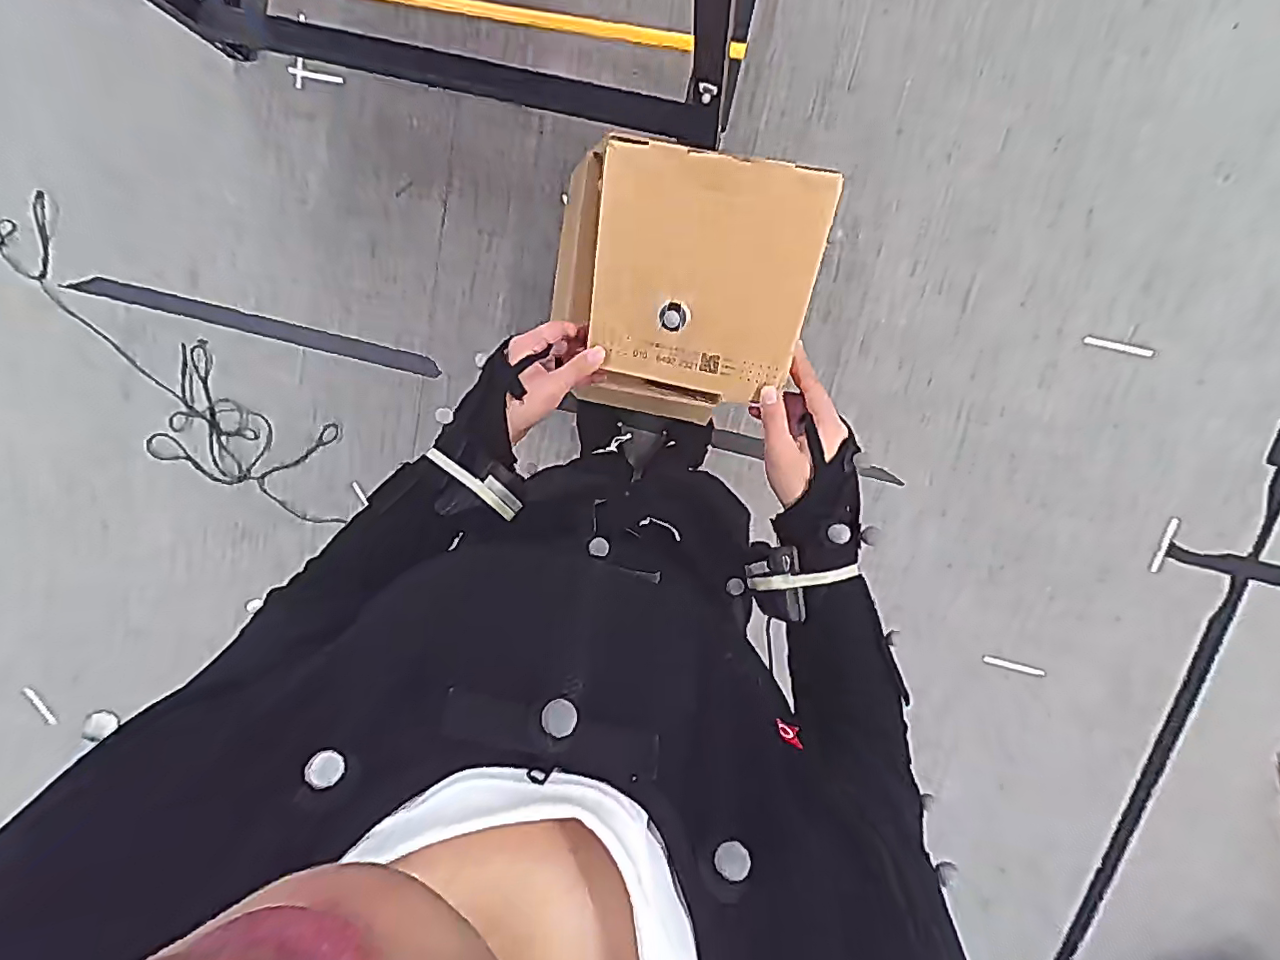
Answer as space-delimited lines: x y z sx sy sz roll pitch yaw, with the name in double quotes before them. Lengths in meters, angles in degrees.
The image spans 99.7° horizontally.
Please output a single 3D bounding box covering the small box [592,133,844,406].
"small box" 0.063 -0.182 0.470 0.168 0.179 0.176 14 120 9
